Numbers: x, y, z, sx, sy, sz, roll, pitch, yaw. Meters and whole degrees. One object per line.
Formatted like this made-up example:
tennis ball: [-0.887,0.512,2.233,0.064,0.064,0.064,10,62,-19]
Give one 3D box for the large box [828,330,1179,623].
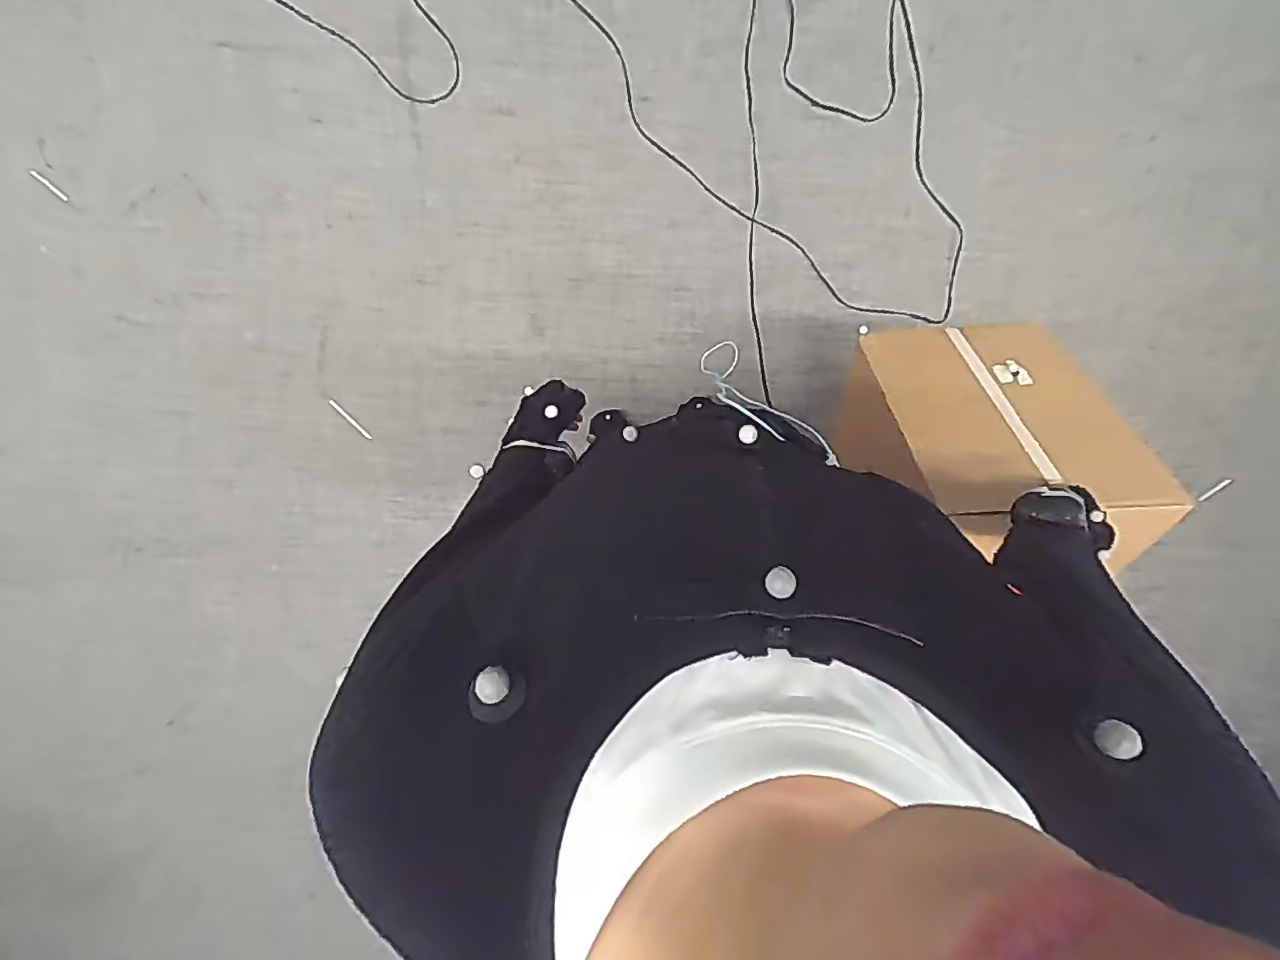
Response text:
large box: [0.549,-0.008,0.937,0.320,0.408,0.320,-2,138,2]
